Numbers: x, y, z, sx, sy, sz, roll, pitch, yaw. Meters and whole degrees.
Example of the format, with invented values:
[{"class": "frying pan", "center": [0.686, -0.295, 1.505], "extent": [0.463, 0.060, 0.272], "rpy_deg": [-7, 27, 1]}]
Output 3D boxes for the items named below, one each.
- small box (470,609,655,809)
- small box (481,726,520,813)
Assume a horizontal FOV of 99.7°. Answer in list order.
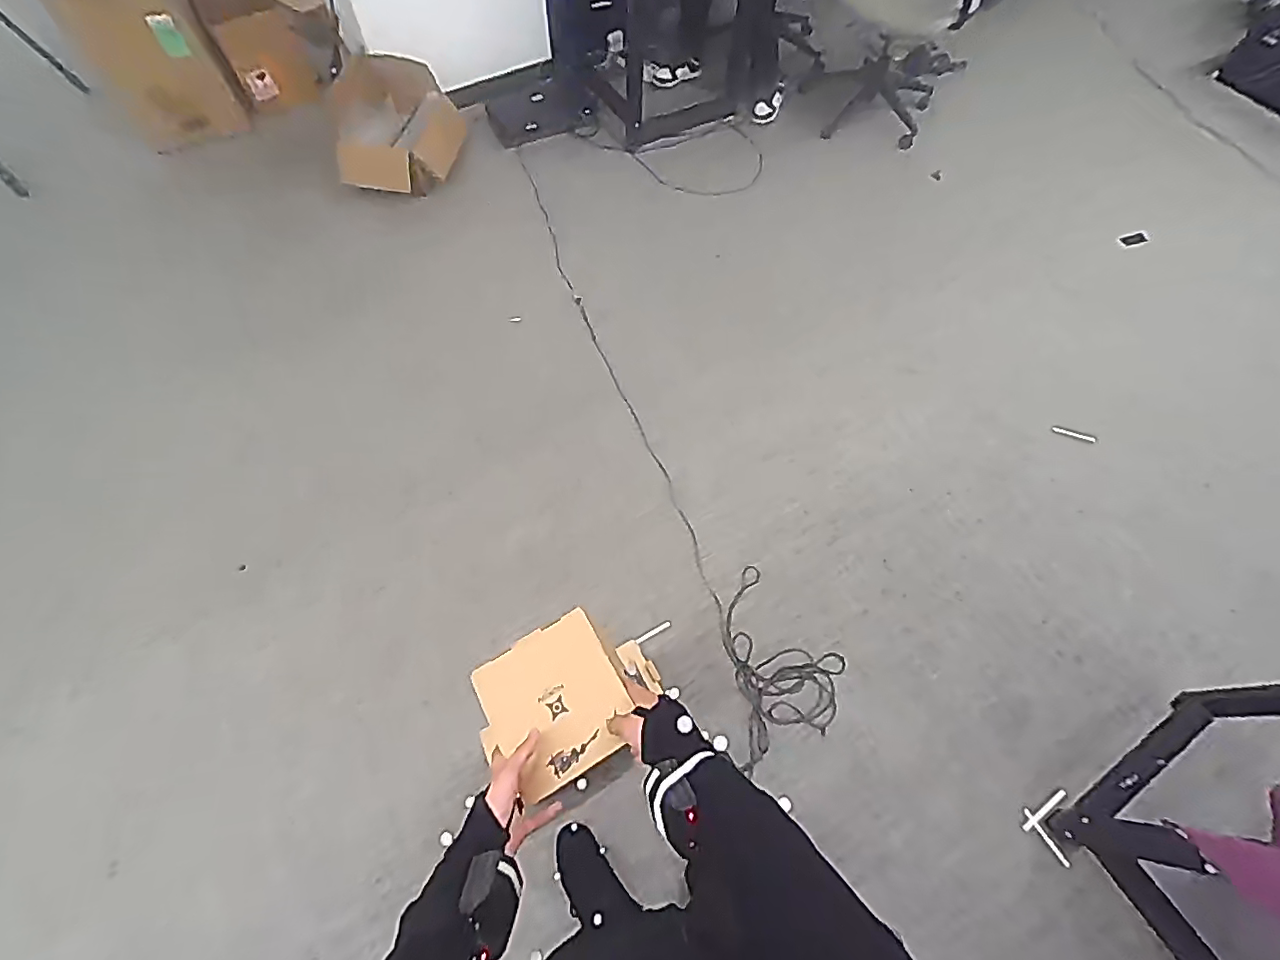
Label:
[{"class": "small box", "center": [-0.096, 0.305, 0.727], "extent": [0.168, 0.176, 0.179], "rpy_deg": [-30, 64, -6]}, {"class": "small box", "center": [-0.215, 0.576, 1.158], "extent": [0.179, 0.176, 0.168], "rpy_deg": [-24, 67, -10]}]
